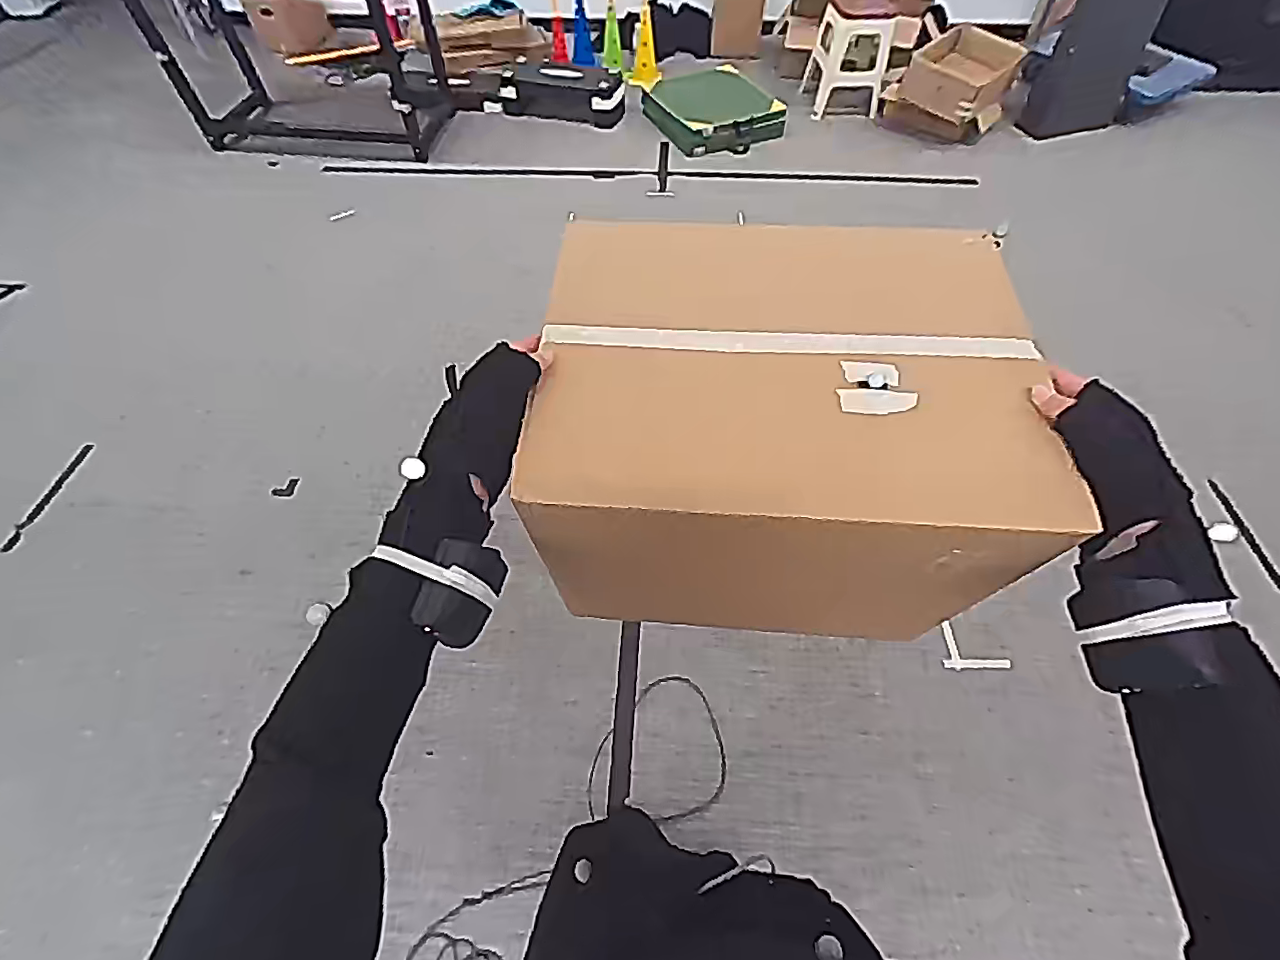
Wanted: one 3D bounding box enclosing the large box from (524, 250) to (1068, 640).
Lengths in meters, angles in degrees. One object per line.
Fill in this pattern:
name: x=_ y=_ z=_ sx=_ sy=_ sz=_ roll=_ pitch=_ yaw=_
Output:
large box: x=0.119 y=-0.021 z=0.595 sx=0.408 sy=0.320 sz=0.320 roll=3 pitch=61 yaw=3
